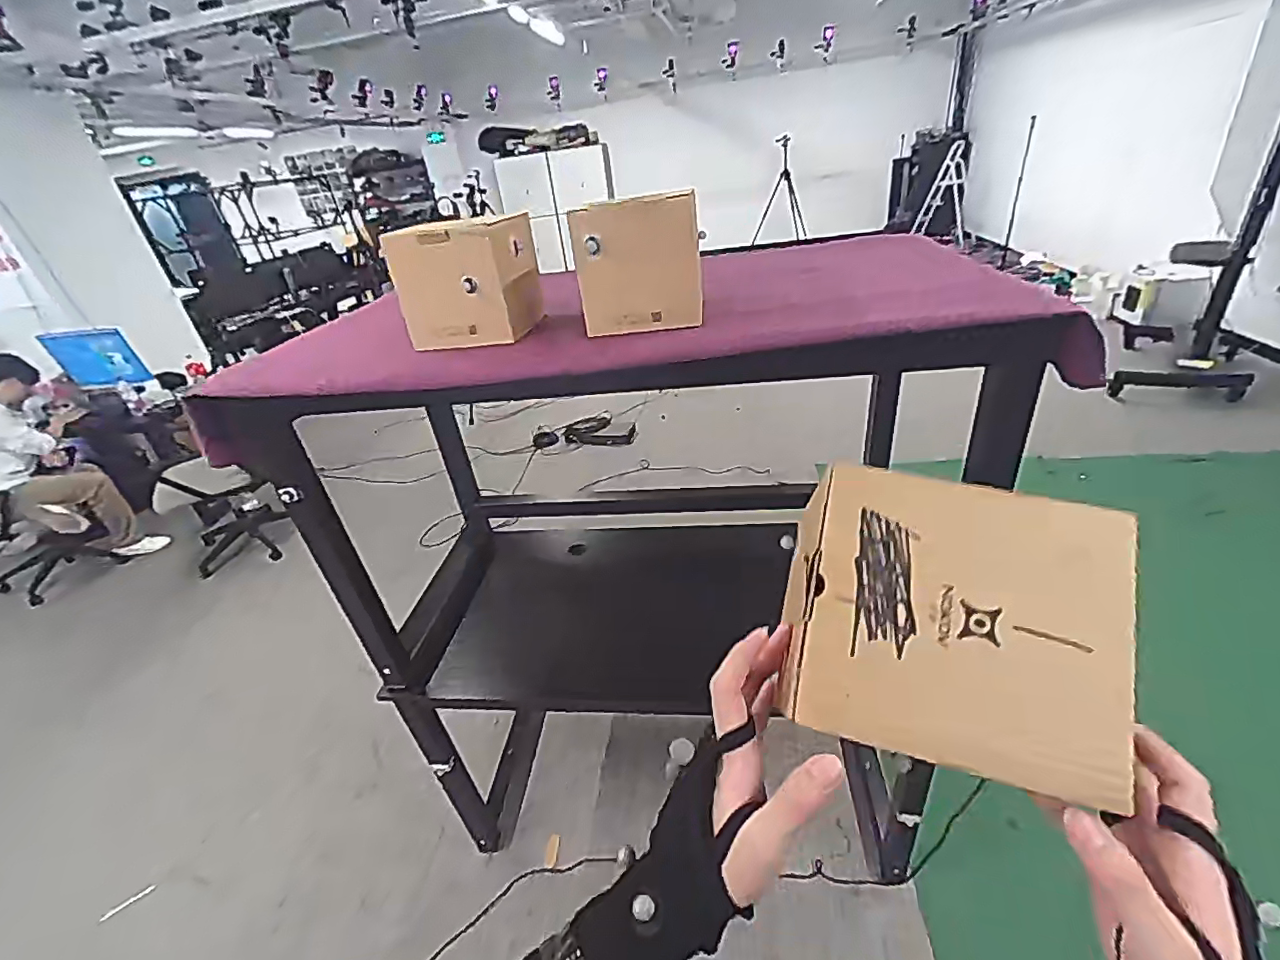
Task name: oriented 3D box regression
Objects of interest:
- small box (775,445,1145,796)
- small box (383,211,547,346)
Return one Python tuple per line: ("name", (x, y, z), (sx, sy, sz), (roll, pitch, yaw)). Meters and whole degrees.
("small box", (0.201, 0.092, 0.386), (0.179, 0.176, 0.168), (12, 76, 11))
("small box", (-0.257, -0.312, 0.847), (0.168, 0.176, 0.179), (-1, 30, 11))
